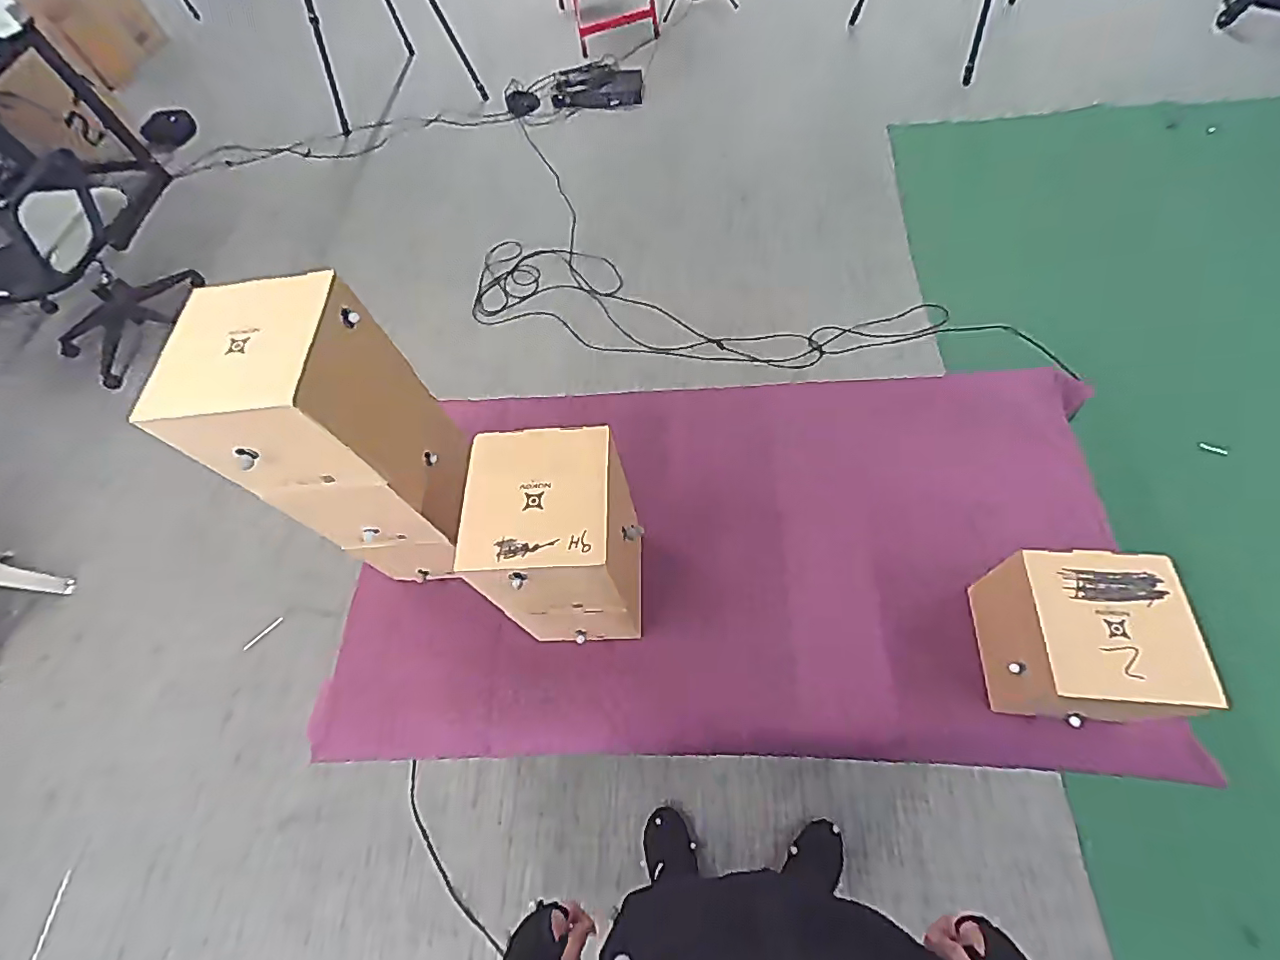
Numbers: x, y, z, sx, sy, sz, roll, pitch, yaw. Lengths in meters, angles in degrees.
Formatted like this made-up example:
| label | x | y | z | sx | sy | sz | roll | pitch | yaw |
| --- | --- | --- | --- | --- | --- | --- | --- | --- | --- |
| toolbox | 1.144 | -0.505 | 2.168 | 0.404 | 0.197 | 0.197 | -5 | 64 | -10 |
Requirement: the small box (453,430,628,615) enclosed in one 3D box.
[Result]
| label | x | y | z | sx | sy | sz | roll | pitch | yaw |
| --- | --- | --- | --- | --- | --- | --- | --- | --- | --- |
| small box | -0.108 | 0.058 | 0.672 | 0.168 | 0.176 | 0.179 | -3 | 61 | 6 |

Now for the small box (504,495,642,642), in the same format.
| label | x | y | z | sx | sy | sz | roll | pitch | yaw |
| --- | --- | --- | --- | --- | --- | --- | --- | --- | --- |
| small box | -0.089 | 0.138 | 0.815 | 0.168 | 0.176 | 0.179 | -3 | 62 | 6 |

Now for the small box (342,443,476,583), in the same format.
| label | x | y | z | sx | sy | sz | roll | pitch | yaw |
| --- | --- | --- | --- | --- | --- | --- | --- | --- | --- |
| small box | -0.347 | 0.058 | 0.891 | 0.168 | 0.176 | 0.179 | -4 | 62 | 6 |

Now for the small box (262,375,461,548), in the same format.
| label | x | y | z | sx | sy | sz | roll | pitch | yaw |
| --- | --- | --- | --- | --- | --- | --- | --- | --- | --- |
| small box | -0.365 | -0.020 | 0.749 | 0.168 | 0.176 | 0.179 | -4 | 62 | 6 |

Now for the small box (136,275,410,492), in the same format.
| label | x | y | z | sx | sy | sz | roll | pitch | yaw |
| --- | --- | --- | --- | --- | --- | --- | --- | --- | --- |
| small box | -0.384 | -0.095 | 0.606 | 0.168 | 0.176 | 0.179 | -5 | 61 | 6 |
